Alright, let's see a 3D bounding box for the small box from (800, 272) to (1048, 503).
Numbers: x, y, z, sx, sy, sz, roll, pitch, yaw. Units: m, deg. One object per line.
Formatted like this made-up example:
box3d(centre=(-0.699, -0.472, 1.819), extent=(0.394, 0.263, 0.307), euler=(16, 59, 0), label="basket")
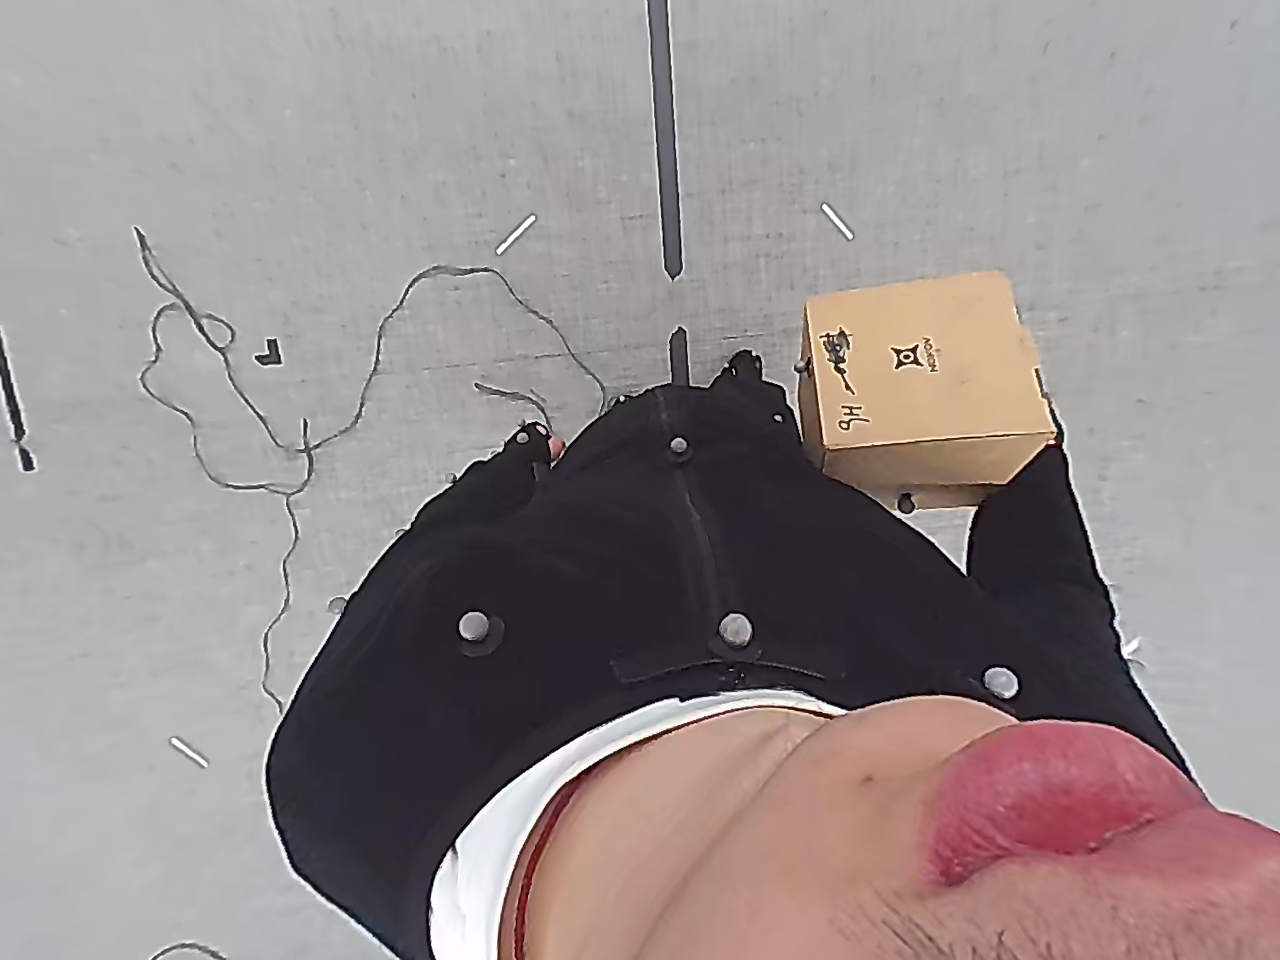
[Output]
box3d(centre=(0.265, -0.081, 0.555), extent=(0.179, 0.176, 0.168), euler=(-4, 66, 12), label="small box")
